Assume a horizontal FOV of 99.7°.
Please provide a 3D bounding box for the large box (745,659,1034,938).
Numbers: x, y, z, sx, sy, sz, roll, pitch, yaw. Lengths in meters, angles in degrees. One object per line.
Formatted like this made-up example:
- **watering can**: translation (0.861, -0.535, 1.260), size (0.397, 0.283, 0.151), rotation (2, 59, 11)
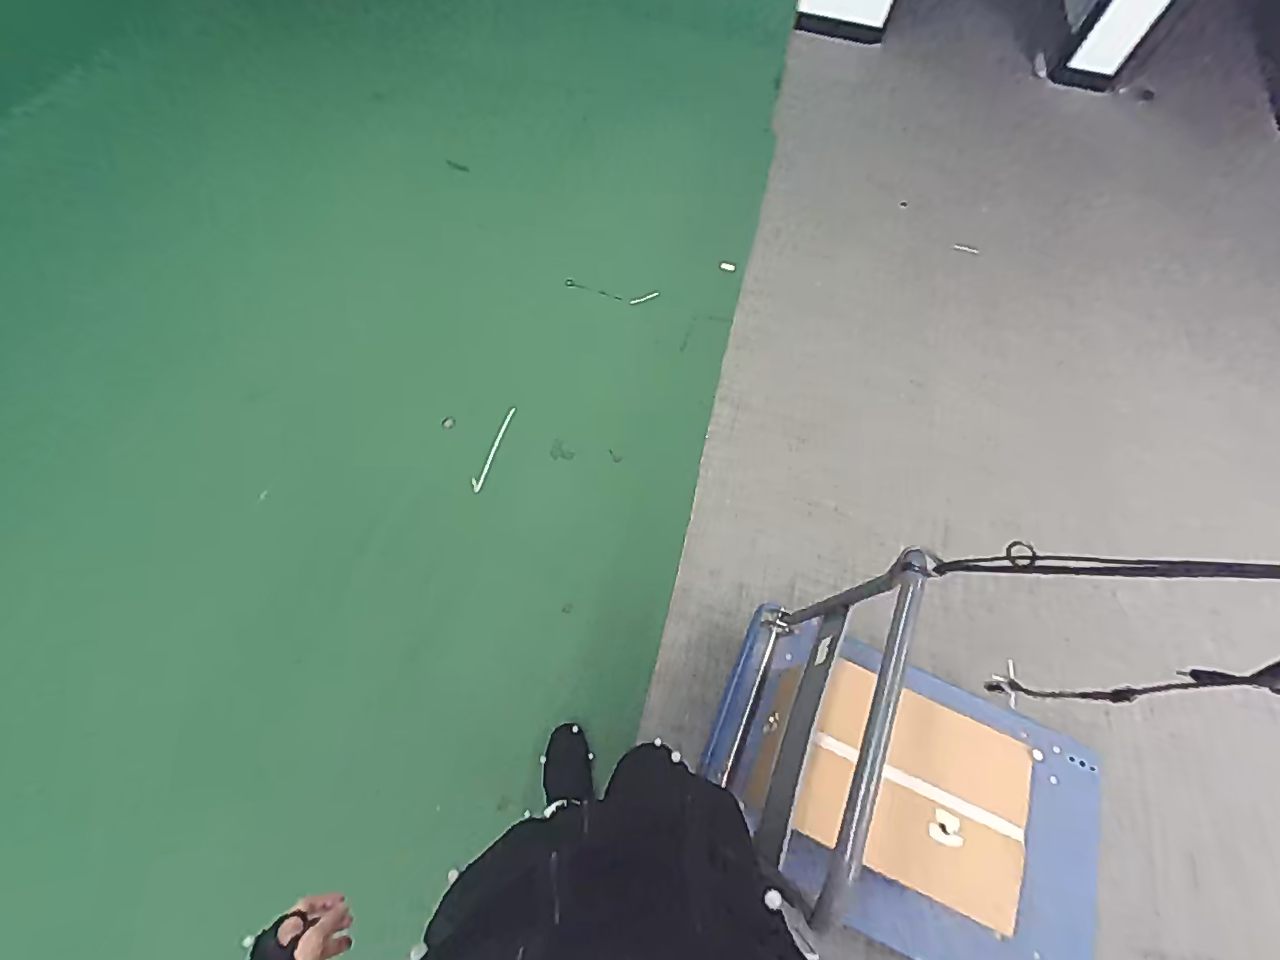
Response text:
- **large box**: translation (0.479, 0.609, 1.098), size (0.408, 0.320, 0.320), rotation (25, 66, 7)
